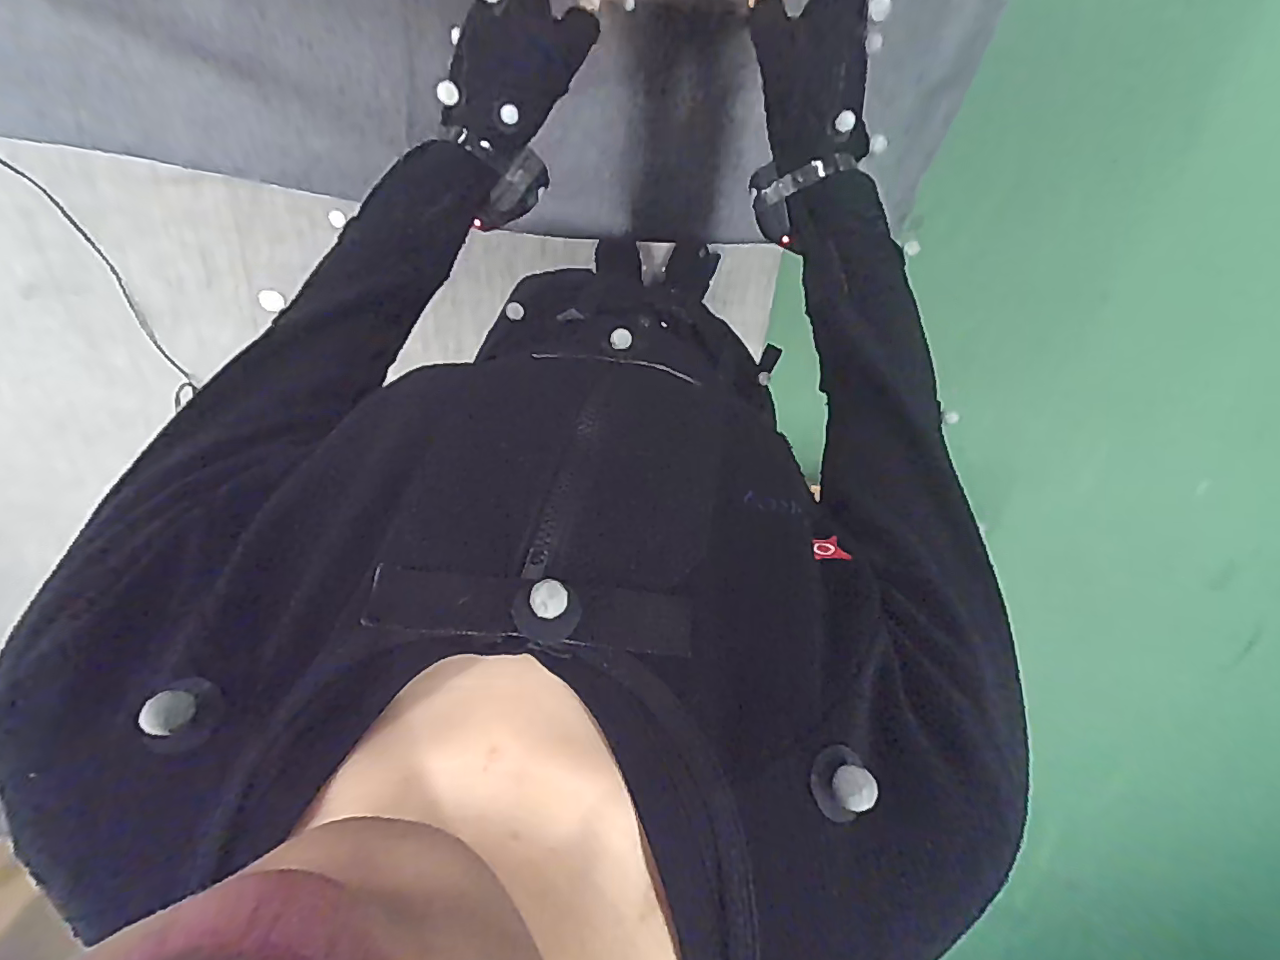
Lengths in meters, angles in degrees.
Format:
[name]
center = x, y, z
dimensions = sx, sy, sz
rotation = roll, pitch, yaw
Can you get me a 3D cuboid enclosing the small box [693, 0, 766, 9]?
[small box]
center = 0.043, -0.495, 0.409
dimensions = 0.168, 0.176, 0.179
rotation = 6, 116, 1
